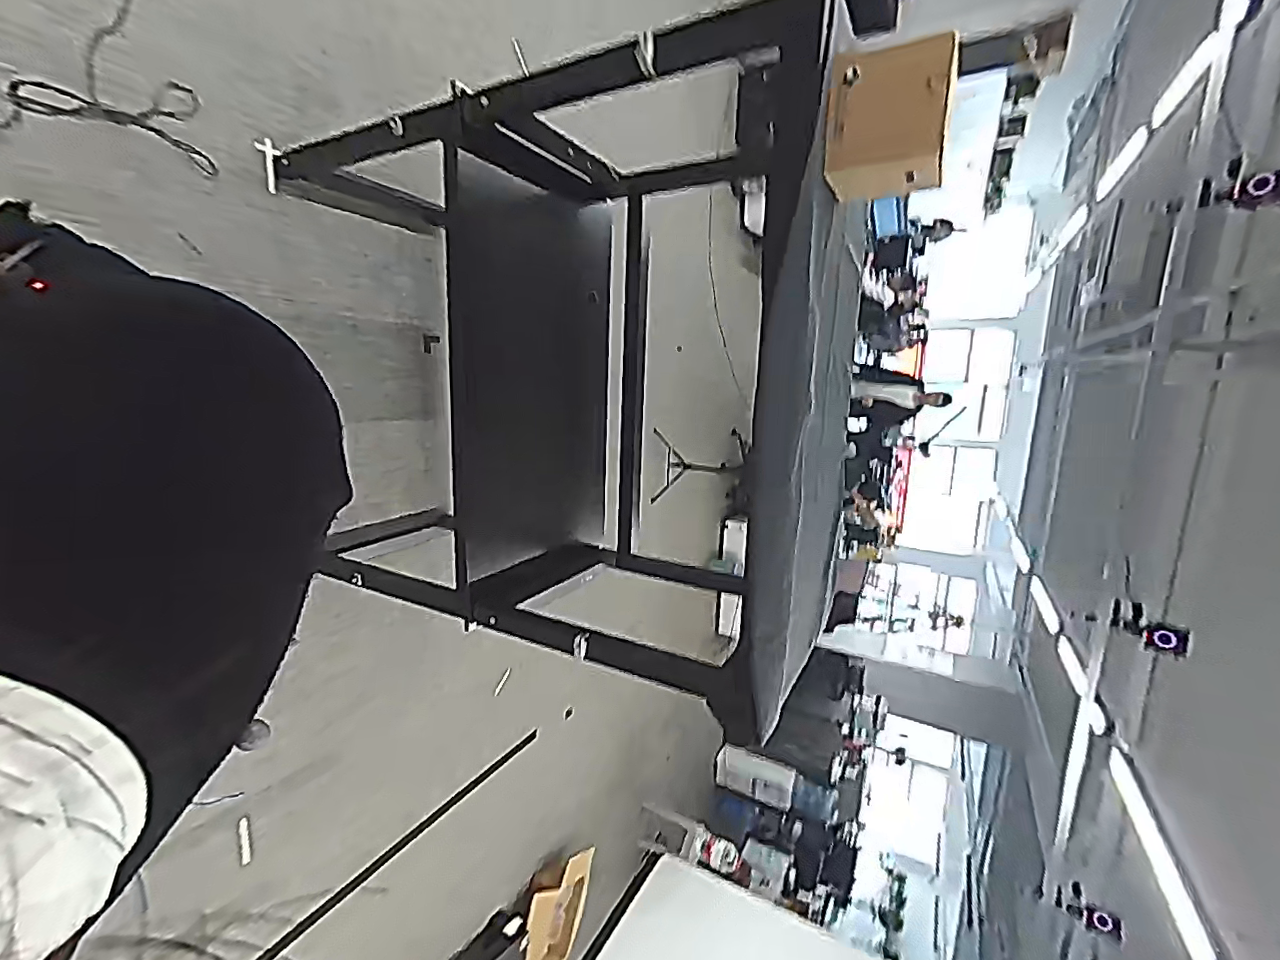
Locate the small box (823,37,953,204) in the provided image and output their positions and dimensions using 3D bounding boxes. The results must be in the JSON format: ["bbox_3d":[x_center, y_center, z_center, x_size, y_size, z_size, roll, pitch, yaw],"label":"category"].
[{"bbox_3d":[0.402,-0.564,0.880,0.179,0.176,0.168,-19,114,-60],"label":"small box"}]
